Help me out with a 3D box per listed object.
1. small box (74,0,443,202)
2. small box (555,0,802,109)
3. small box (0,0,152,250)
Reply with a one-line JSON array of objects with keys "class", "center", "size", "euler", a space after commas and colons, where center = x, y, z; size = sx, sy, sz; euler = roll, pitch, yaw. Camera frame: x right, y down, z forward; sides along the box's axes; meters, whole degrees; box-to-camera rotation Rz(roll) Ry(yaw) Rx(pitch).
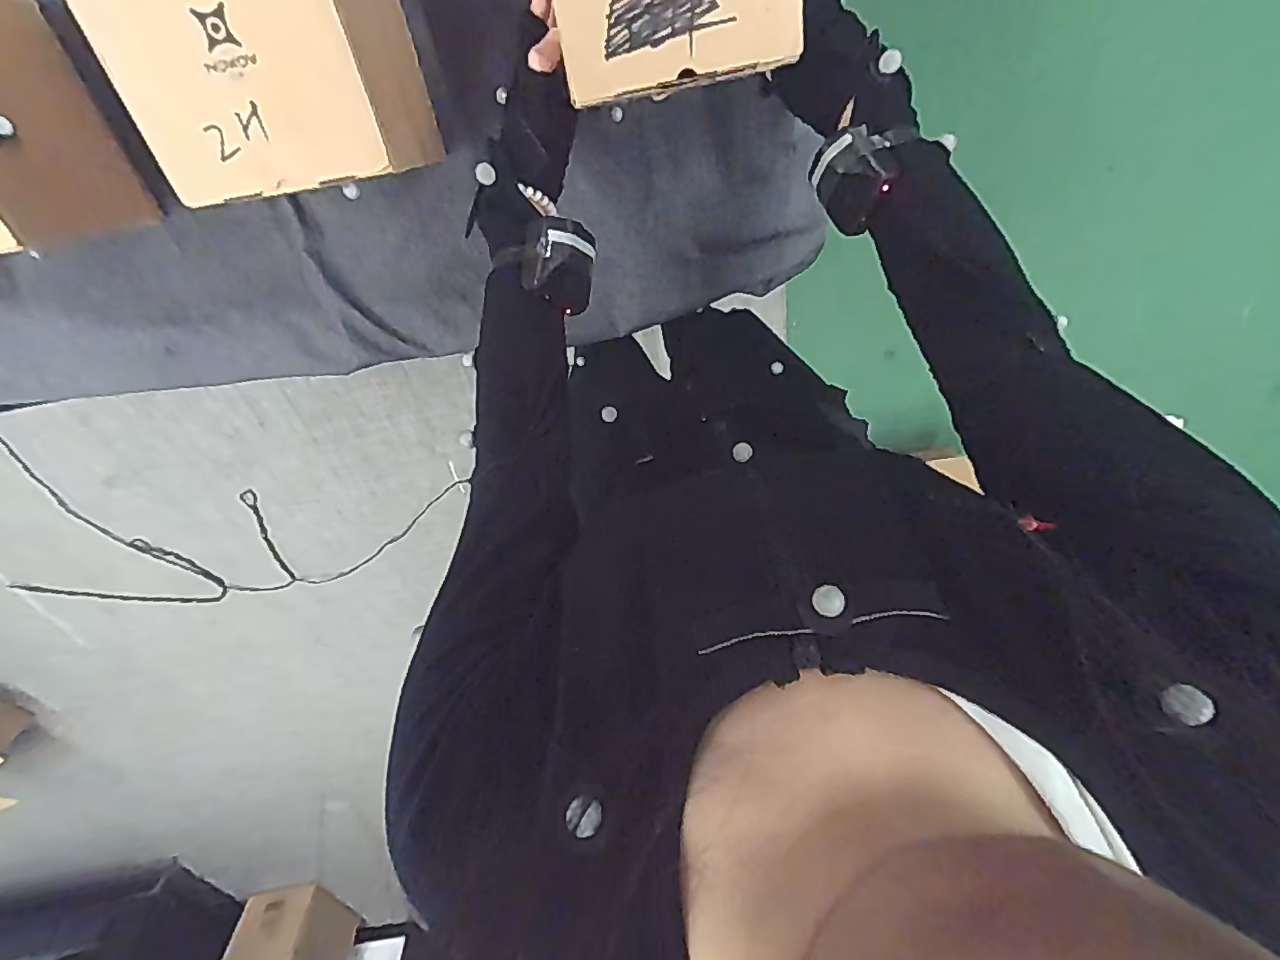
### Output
[{"class": "small box", "center": [-0.276, -0.333, 0.421], "size": [0.168, 0.176, 0.179], "euler": [-9, 124, 2]}, {"class": "small box", "center": [0.016, -0.396, 0.403], "size": [0.168, 0.176, 0.179], "euler": [-10, 123, 2]}, {"class": "small box", "center": [-0.570, -0.282, 0.433], "size": [0.168, 0.176, 0.179], "euler": [-10, 125, 1]}]
